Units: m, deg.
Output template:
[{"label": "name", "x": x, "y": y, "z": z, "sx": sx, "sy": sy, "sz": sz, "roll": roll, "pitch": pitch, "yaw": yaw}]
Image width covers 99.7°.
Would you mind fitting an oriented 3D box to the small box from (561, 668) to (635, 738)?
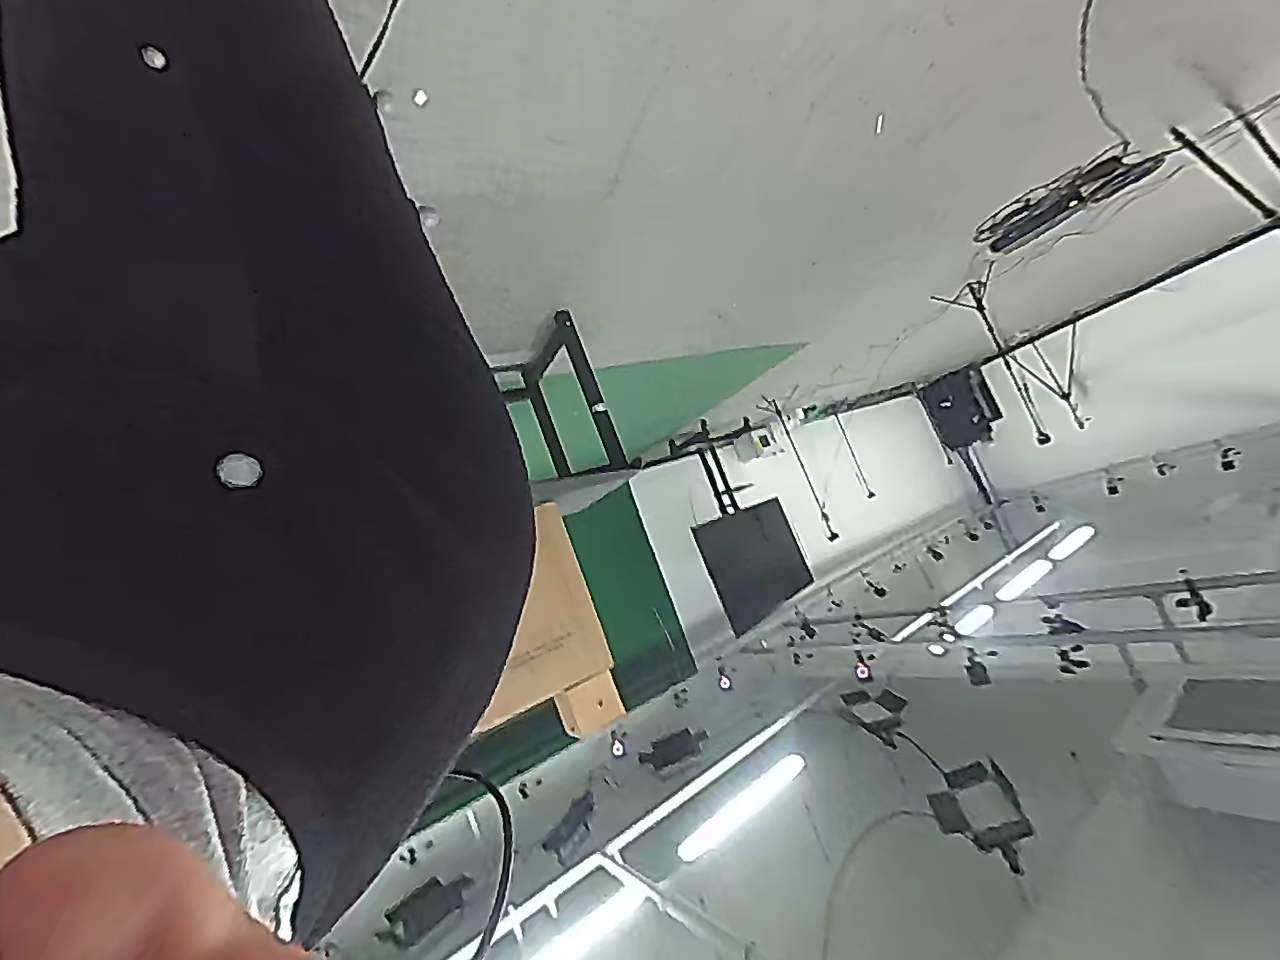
[{"label": "small box", "x": -0.153, "y": 0.780, "z": 1.913, "sx": 0.179, "sy": 0.176, "sz": 0.168, "roll": -20, "pitch": 171, "yaw": -31}]
